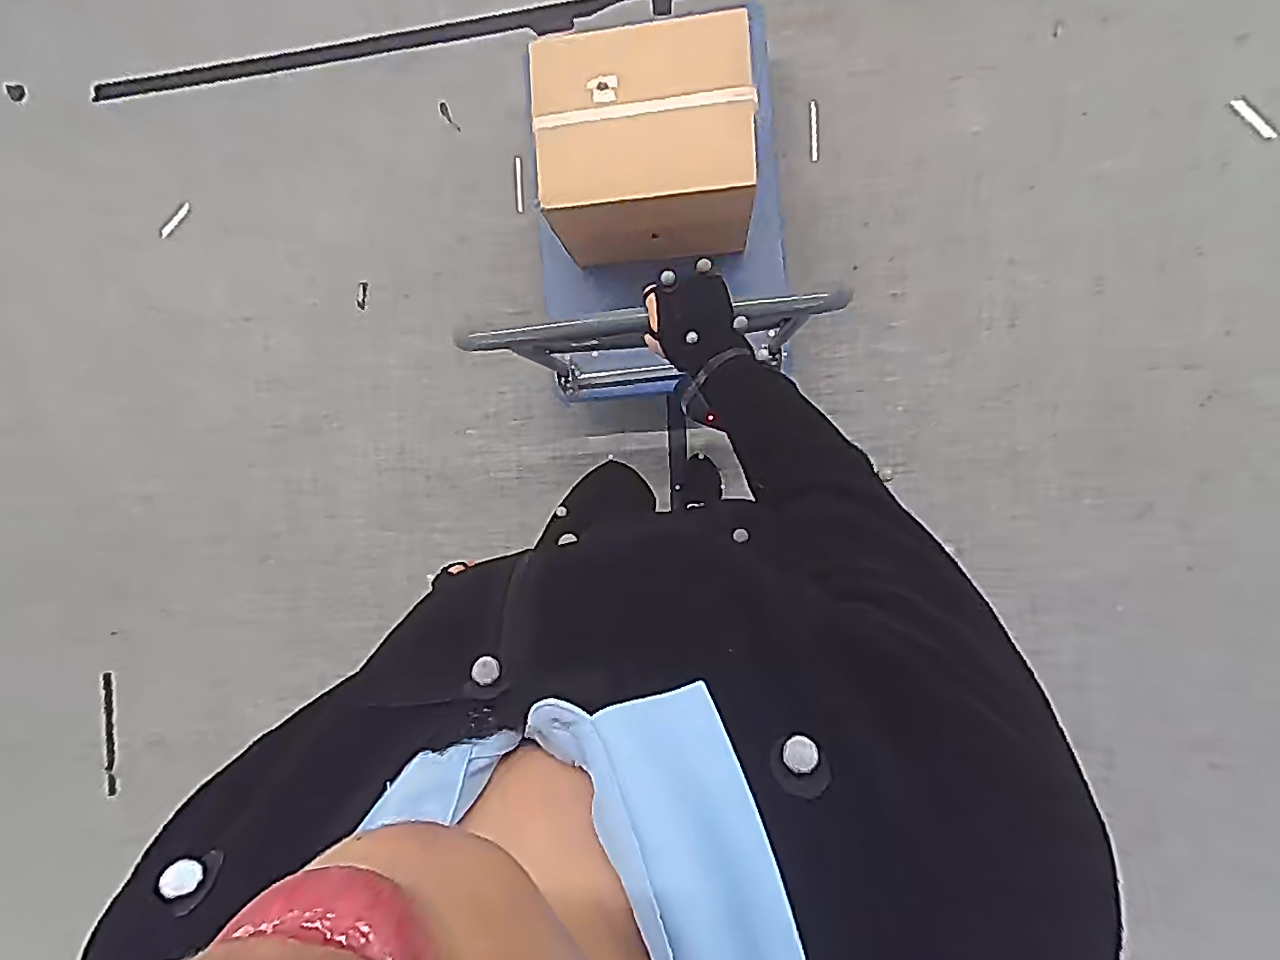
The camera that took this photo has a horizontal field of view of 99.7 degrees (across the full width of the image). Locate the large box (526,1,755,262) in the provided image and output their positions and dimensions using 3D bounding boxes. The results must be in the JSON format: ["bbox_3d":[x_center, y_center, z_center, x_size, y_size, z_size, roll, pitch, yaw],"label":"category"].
[{"bbox_3d":[0.017,-0.678,1.121,0.408,0.320,0.320,-3,91,8],"label":"large box"}]
